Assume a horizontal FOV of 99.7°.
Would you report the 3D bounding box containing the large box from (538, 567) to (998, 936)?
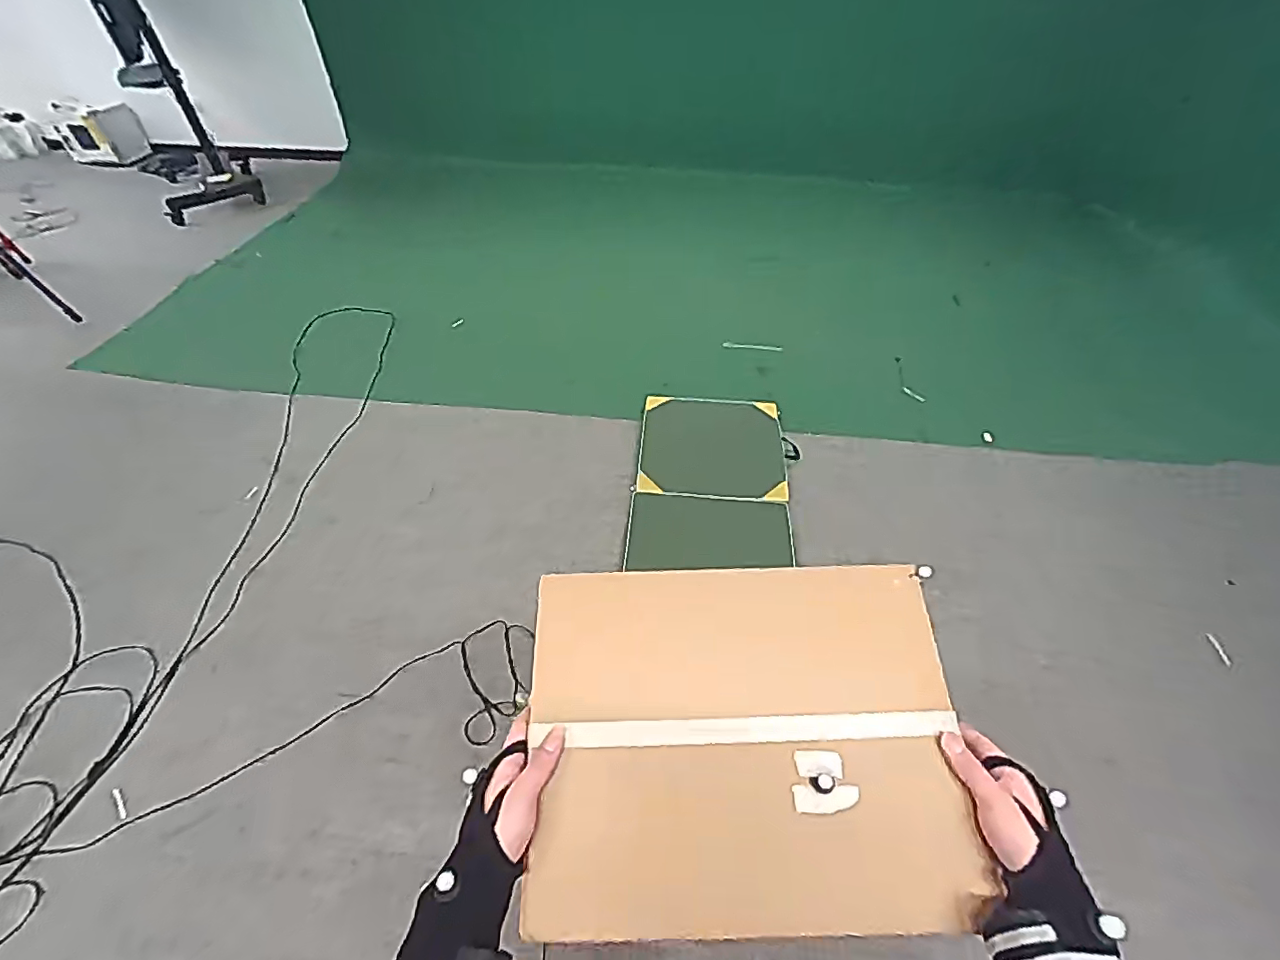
[{"bbox_3d":[0.104,0.309,0.658,0.408,0.320,0.320,-2,63,0],"label":"large box"}]
